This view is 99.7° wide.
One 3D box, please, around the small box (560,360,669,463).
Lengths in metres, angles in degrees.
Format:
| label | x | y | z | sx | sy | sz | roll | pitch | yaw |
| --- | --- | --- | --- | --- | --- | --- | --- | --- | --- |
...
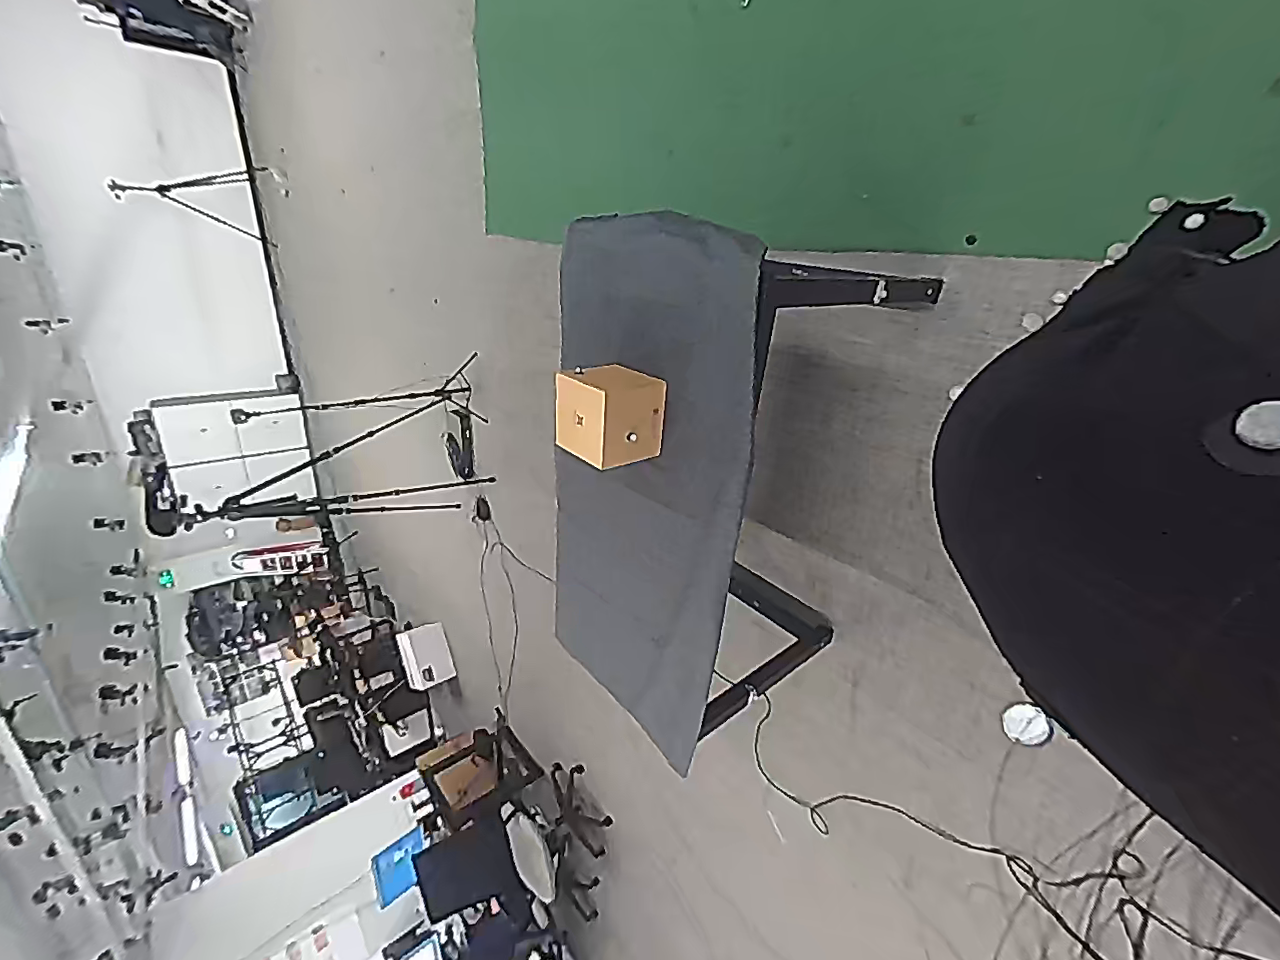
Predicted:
| label | x | y | z | sx | sy | sz | roll | pitch | yaw |
| --- | --- | --- | --- | --- | --- | --- | --- | --- | --- |
| small box | -0.055 | -0.157 | 1.167 | 0.179 | 0.176 | 0.168 | 29 | 125 | 43 |
